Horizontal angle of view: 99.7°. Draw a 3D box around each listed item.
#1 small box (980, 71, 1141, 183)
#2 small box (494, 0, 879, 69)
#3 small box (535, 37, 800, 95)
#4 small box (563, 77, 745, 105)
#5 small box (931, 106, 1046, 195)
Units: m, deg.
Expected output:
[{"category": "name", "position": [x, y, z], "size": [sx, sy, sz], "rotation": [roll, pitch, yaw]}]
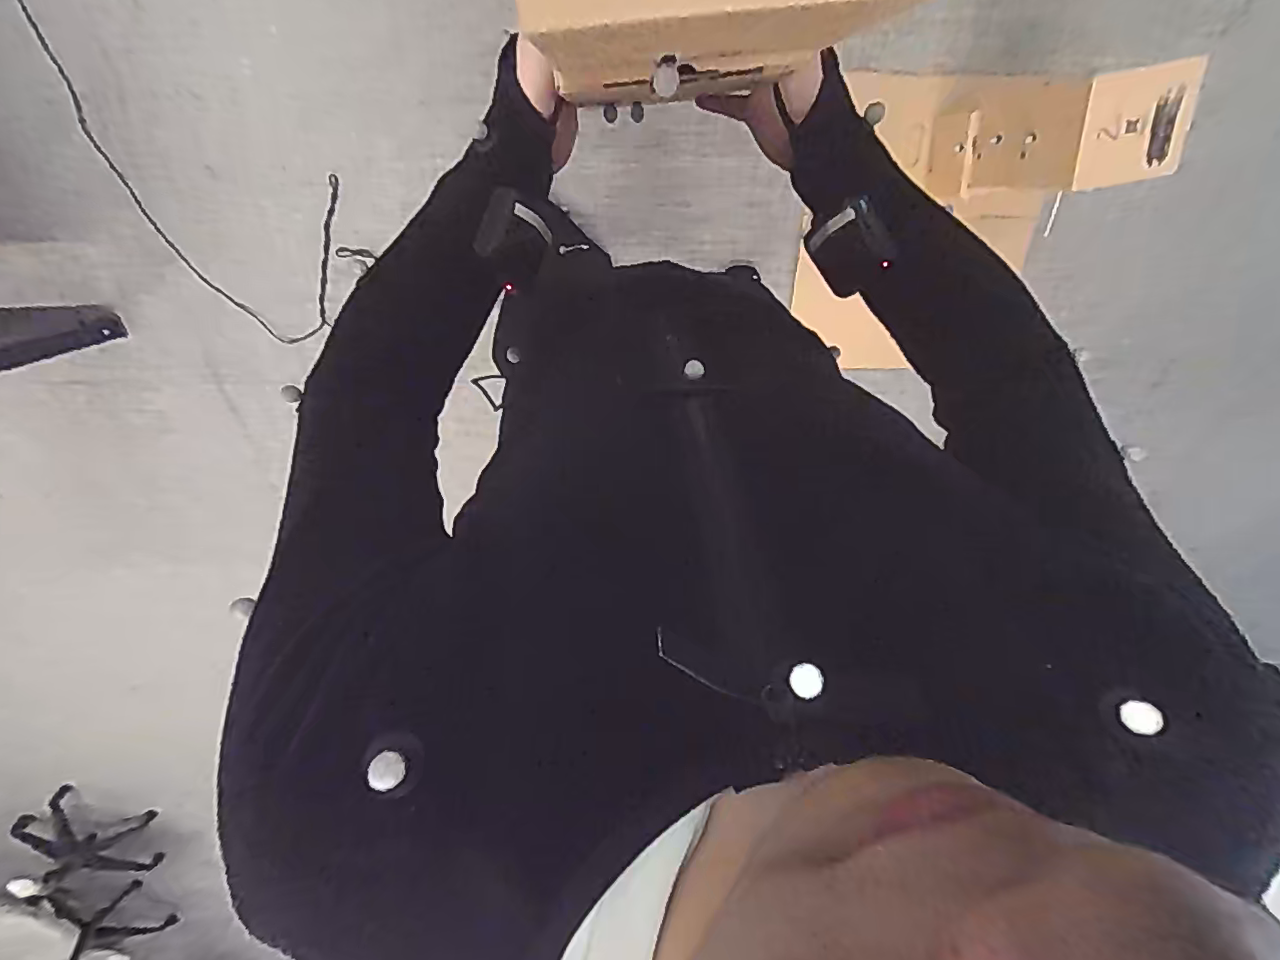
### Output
[{"category": "small box", "position": [0.821, -0.694, 1.080], "size": [0.179, 0.176, 0.168], "rotation": [-6, 119, 2]}, {"category": "small box", "position": [0.016, -0.292, 0.219], "size": [0.168, 0.176, 0.179], "rotation": [-5, 122, 2]}, {"category": "small box", "position": [0.010, -0.372, 0.361], "size": [0.168, 0.176, 0.179], "rotation": [-6, 122, 2]}, {"category": "small box", "position": [0.006, -0.460, 0.501], "size": [0.168, 0.176, 0.179], "rotation": [-6, 122, 2]}, {"category": "small box", "position": [0.803, -0.755, 1.234], "size": [0.179, 0.176, 0.168], "rotation": [-7, 118, 2]}]
